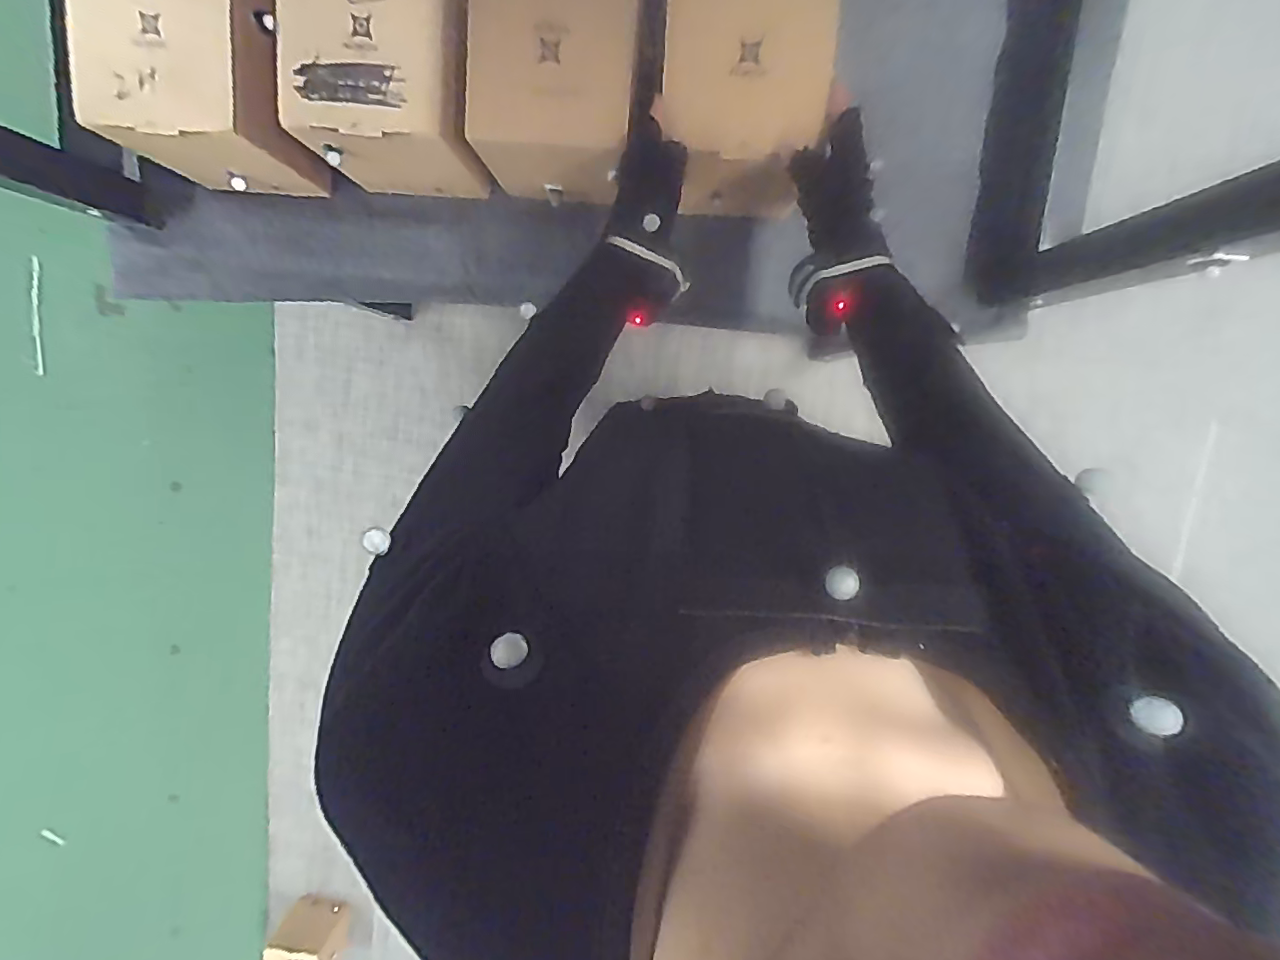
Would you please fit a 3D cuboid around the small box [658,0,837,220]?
[{"bbox_3d":[0.107,-0.415,0.604,0.168,0.176,0.179,3,98,2],"label":"small box"}]

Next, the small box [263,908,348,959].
[{"bbox_3d":[-1.007,1.444,1.631,0.168,0.176,0.179,8,99,1],"label":"small box"}]

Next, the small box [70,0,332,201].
[{"bbox_3d":[-0.476,-0.444,0.612,0.168,0.176,0.179,4,98,1],"label":"small box"}]
